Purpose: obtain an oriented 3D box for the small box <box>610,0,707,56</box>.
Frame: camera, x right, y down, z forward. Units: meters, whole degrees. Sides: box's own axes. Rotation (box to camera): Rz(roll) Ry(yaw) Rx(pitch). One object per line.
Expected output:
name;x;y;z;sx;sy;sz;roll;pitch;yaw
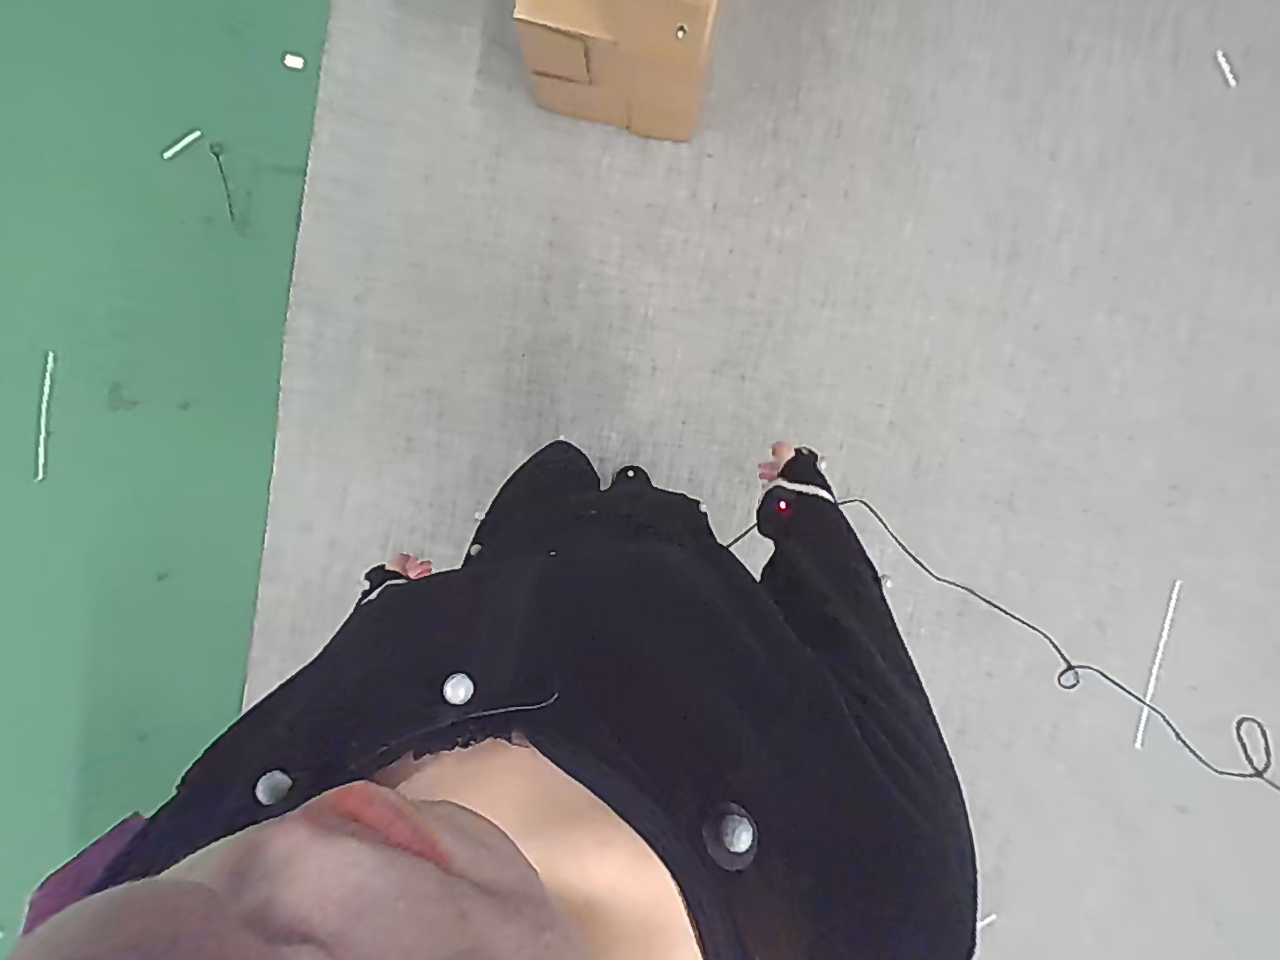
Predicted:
small box;0.045;-0.942;1.011;0.179;0.176;0.168;11;94;0
